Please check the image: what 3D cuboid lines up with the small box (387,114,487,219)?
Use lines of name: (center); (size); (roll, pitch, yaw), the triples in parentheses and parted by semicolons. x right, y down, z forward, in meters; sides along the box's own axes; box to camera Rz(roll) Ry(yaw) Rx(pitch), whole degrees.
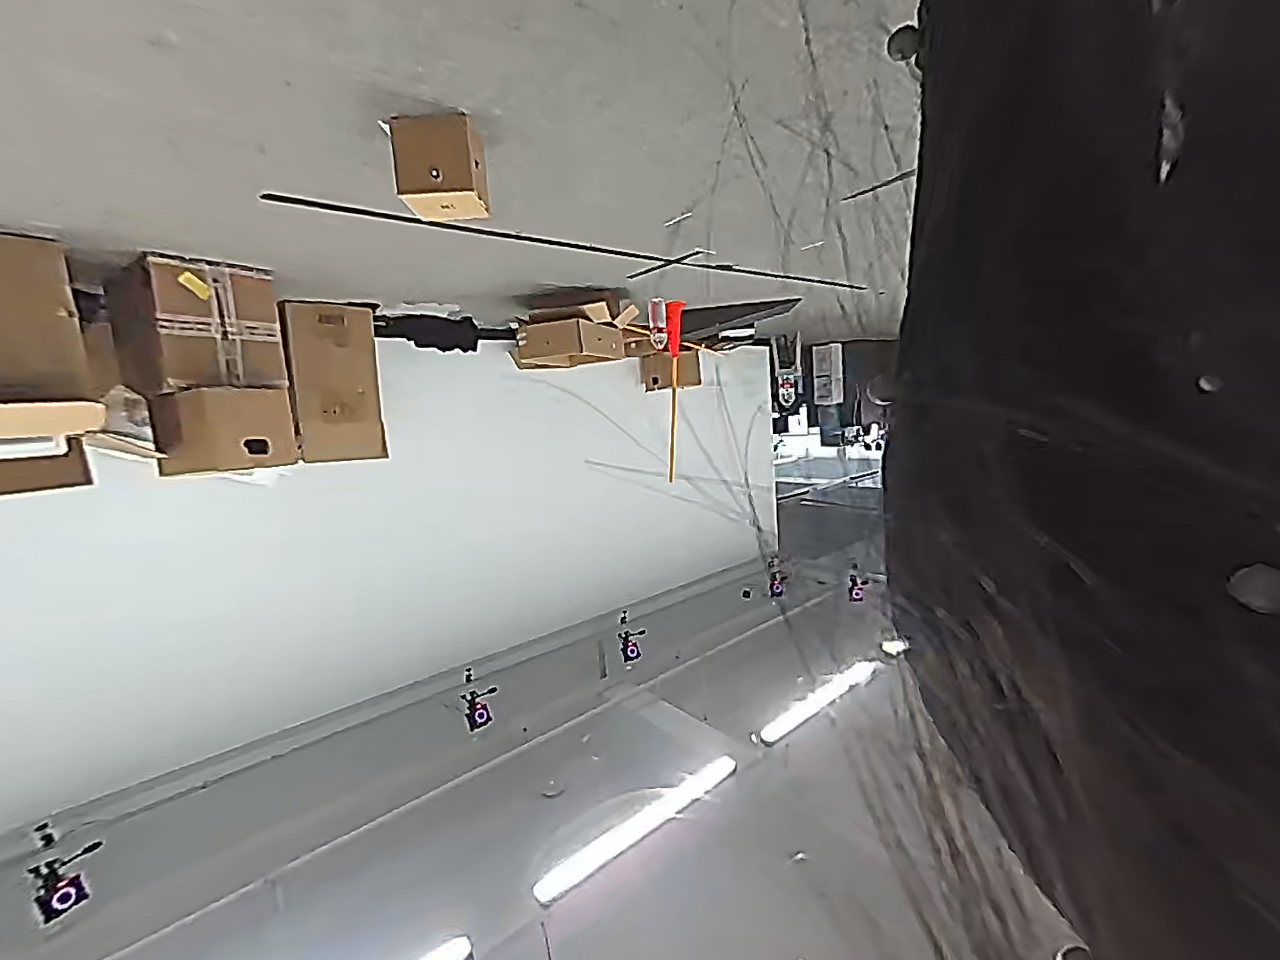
small box: (-0.476, -0.739, 1.280); (0.179, 0.176, 0.168); (-3, -174, -2)
